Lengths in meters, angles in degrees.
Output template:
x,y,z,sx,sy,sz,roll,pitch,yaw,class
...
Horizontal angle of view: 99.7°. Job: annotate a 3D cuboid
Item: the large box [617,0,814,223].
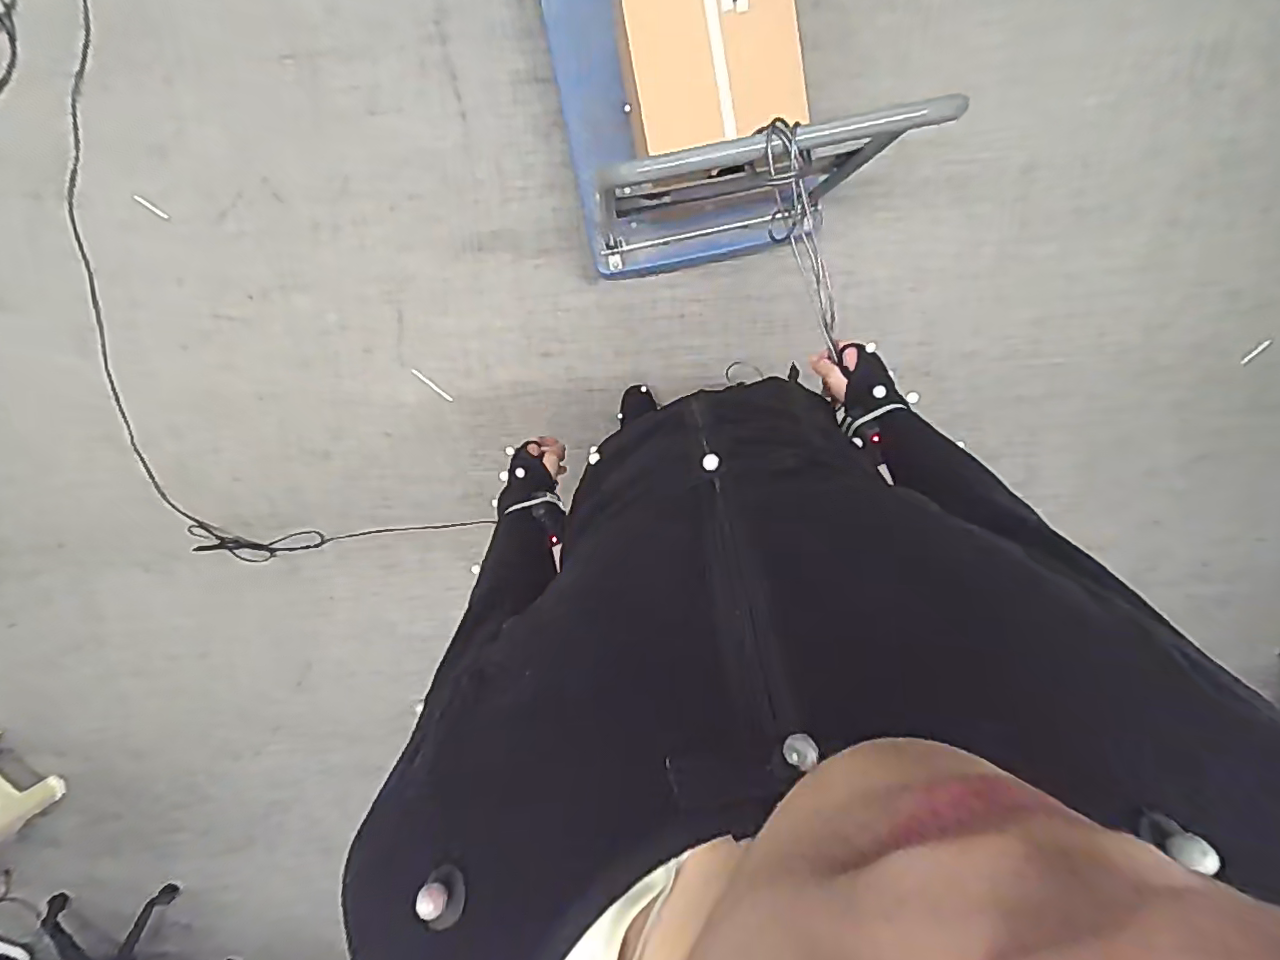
x,y,z,sx,sy,sz,roll,pitch,yaw,class
0.140,-0.819,1.134,0.320,0.320,0.408,-11,100,1,large box
